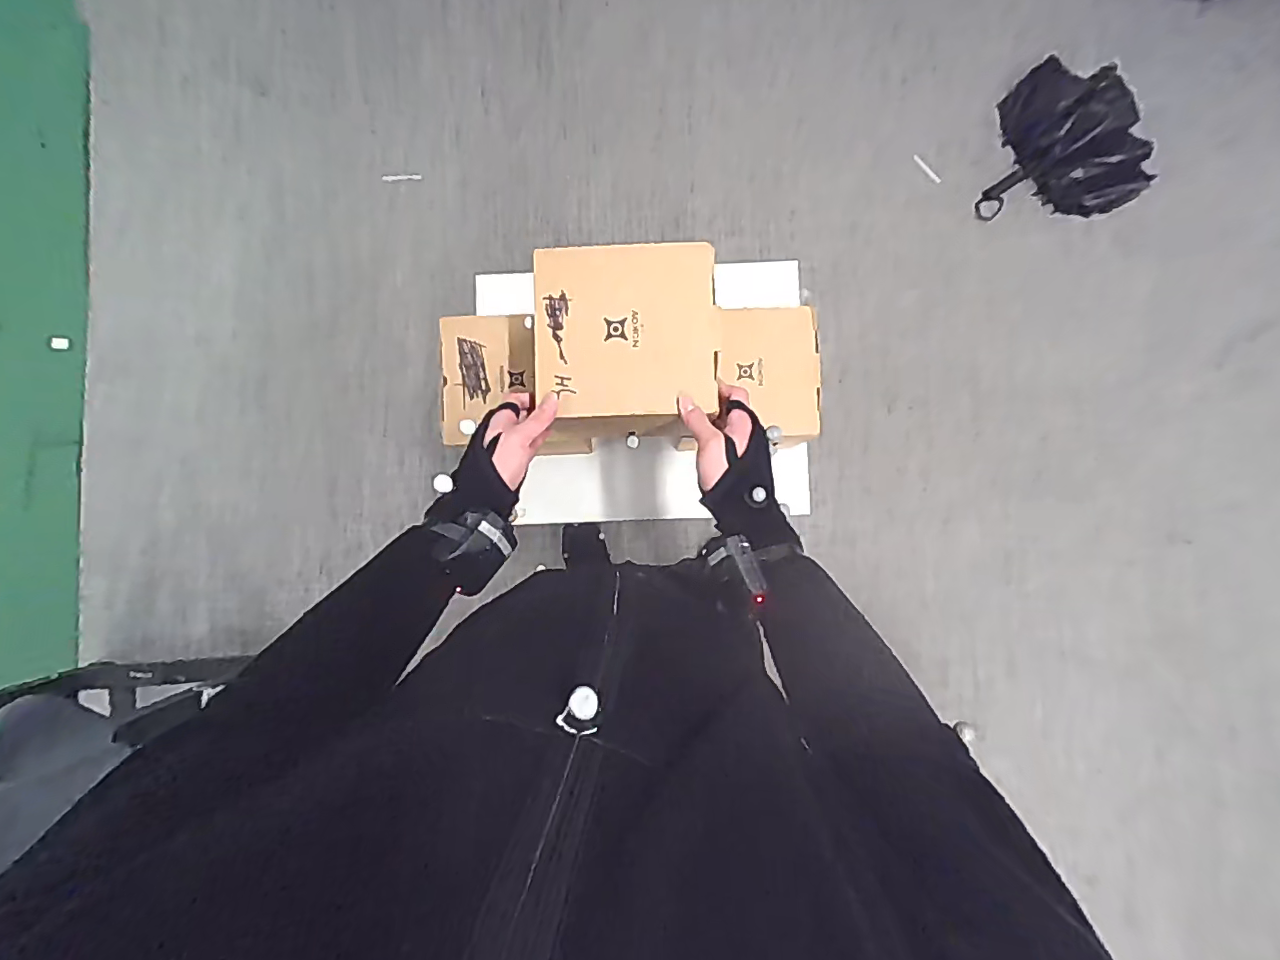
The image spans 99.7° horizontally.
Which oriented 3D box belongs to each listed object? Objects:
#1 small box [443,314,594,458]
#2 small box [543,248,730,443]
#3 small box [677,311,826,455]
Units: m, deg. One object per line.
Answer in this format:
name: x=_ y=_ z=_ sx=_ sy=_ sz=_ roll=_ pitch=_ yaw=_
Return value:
small box: x=-0.156 y=-0.120 z=0.746 sx=0.179 sy=0.176 sz=0.168 roll=-2 pitch=88 yaw=-2
small box: x=-0.006 y=-0.132 z=0.586 sx=0.179 sy=0.176 sz=0.168 roll=0 pitch=88 yaw=-1
small box: x=0.143 y=-0.125 z=0.748 sx=0.179 sy=0.176 sz=0.168 roll=0 pitch=87 yaw=1
